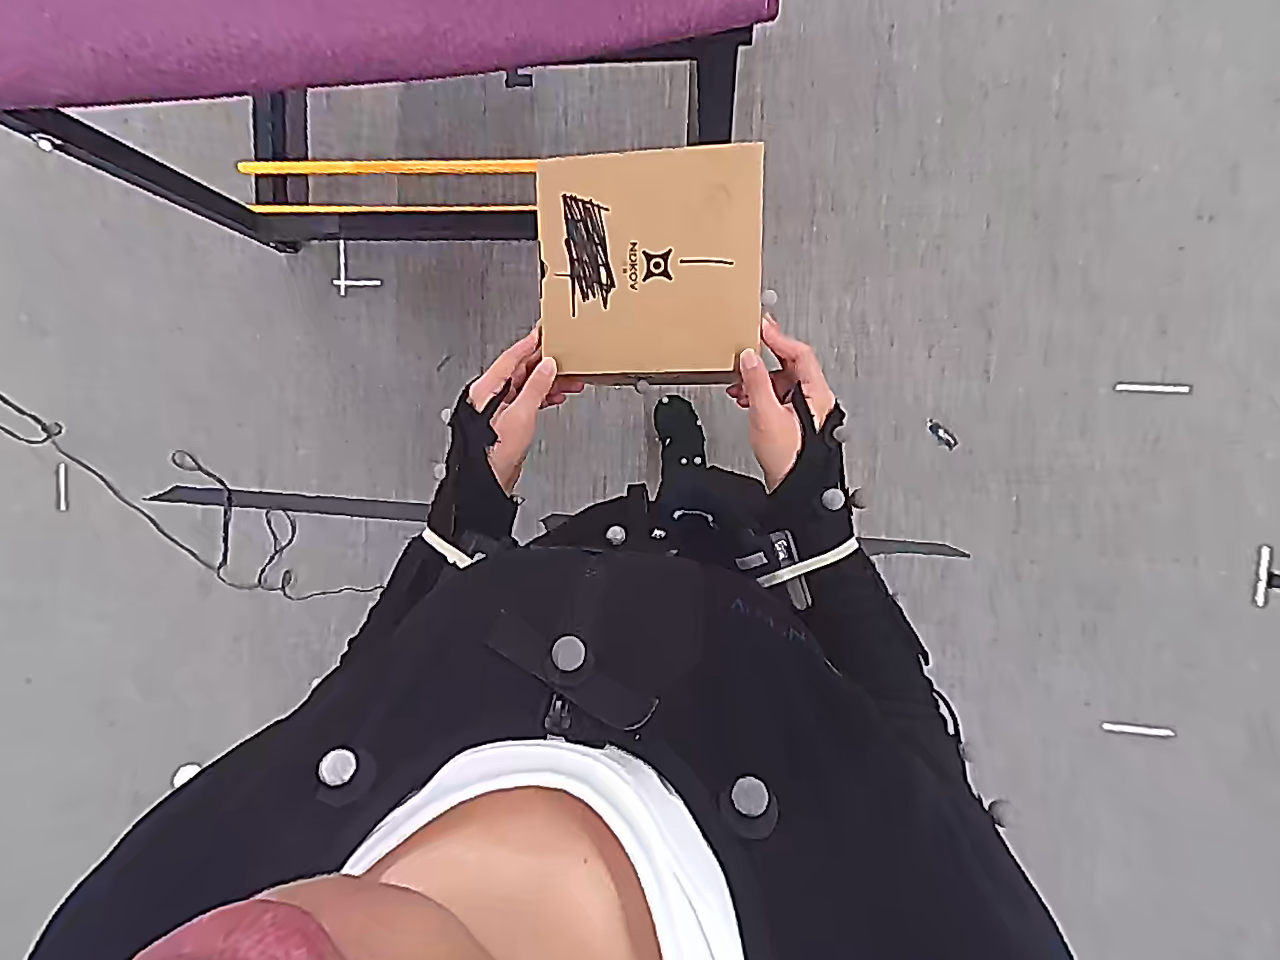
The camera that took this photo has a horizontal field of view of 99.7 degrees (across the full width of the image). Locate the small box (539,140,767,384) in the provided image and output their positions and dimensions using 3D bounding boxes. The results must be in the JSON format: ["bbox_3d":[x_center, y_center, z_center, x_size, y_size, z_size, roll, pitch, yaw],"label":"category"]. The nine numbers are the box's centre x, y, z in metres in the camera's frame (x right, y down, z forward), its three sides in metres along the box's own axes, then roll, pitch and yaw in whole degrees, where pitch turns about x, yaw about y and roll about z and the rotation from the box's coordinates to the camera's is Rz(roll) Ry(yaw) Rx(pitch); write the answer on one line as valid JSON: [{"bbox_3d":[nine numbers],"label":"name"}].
[{"bbox_3d":[0.021,-0.175,0.492,0.179,0.176,0.168,1,97,10],"label":"small box"}]
